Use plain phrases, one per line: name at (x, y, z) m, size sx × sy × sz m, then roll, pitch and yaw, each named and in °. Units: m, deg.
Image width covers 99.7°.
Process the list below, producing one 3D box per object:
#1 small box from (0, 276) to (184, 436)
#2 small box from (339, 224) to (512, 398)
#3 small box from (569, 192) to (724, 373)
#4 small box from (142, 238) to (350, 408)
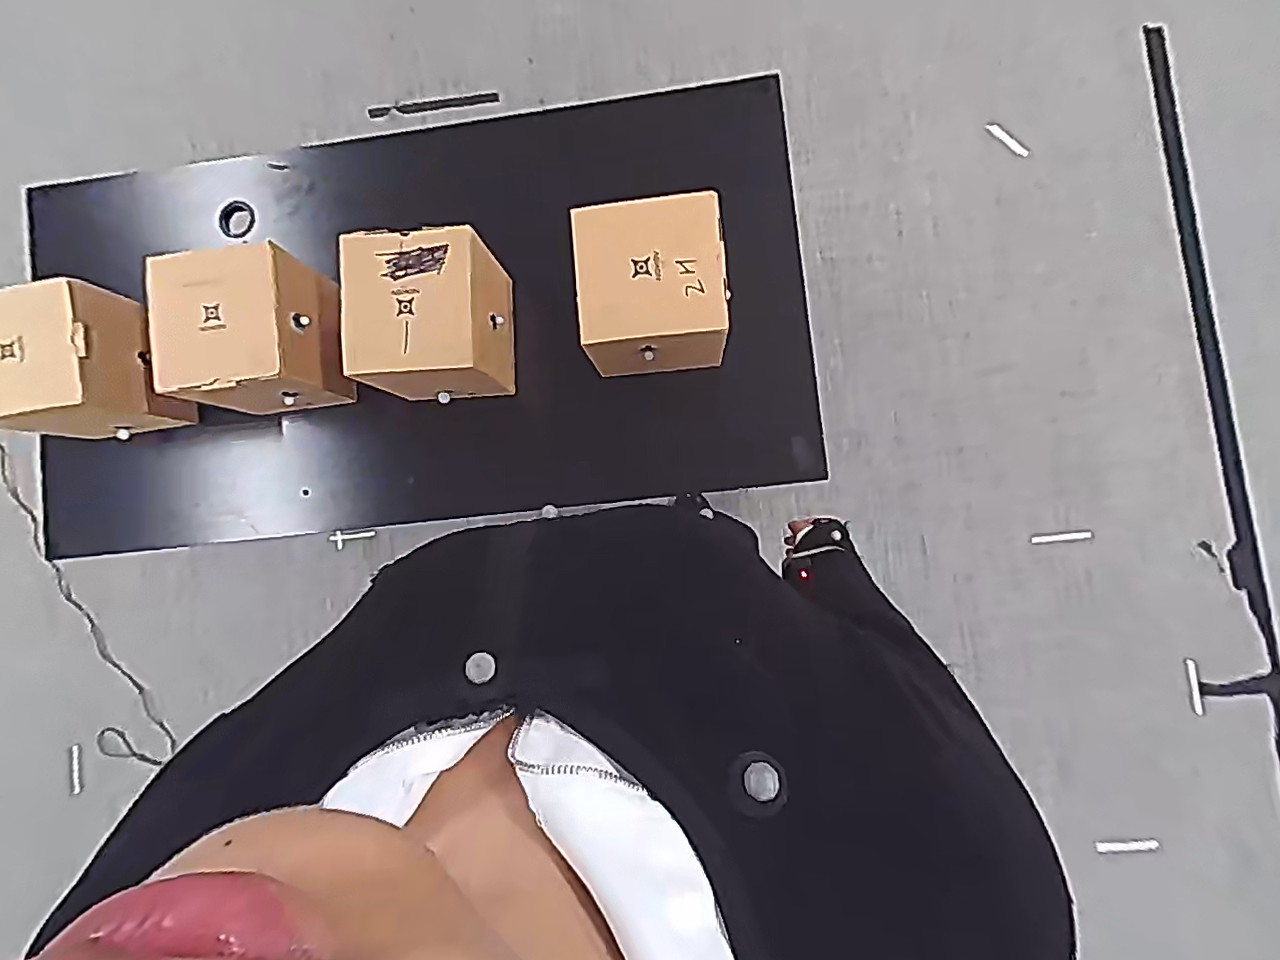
small box at (-0.785, -0.162, 0.757) m, size 0.179 × 0.176 × 0.168 m, roll -8°, pitch 87°, yaw 2°
small box at (-0.277, -0.215, 0.729) m, size 0.168 × 0.176 × 0.179 m, roll -3°, pitch 88°, yaw 4°
small box at (0.012, -0.245, 0.712) m, size 0.179 × 0.176 × 0.168 m, roll -5°, pitch 87°, yaw 4°
small box at (-0.526, -0.200, 0.745) m, size 0.168 × 0.176 × 0.179 m, roll -7°, pitch 86°, yaw 2°
